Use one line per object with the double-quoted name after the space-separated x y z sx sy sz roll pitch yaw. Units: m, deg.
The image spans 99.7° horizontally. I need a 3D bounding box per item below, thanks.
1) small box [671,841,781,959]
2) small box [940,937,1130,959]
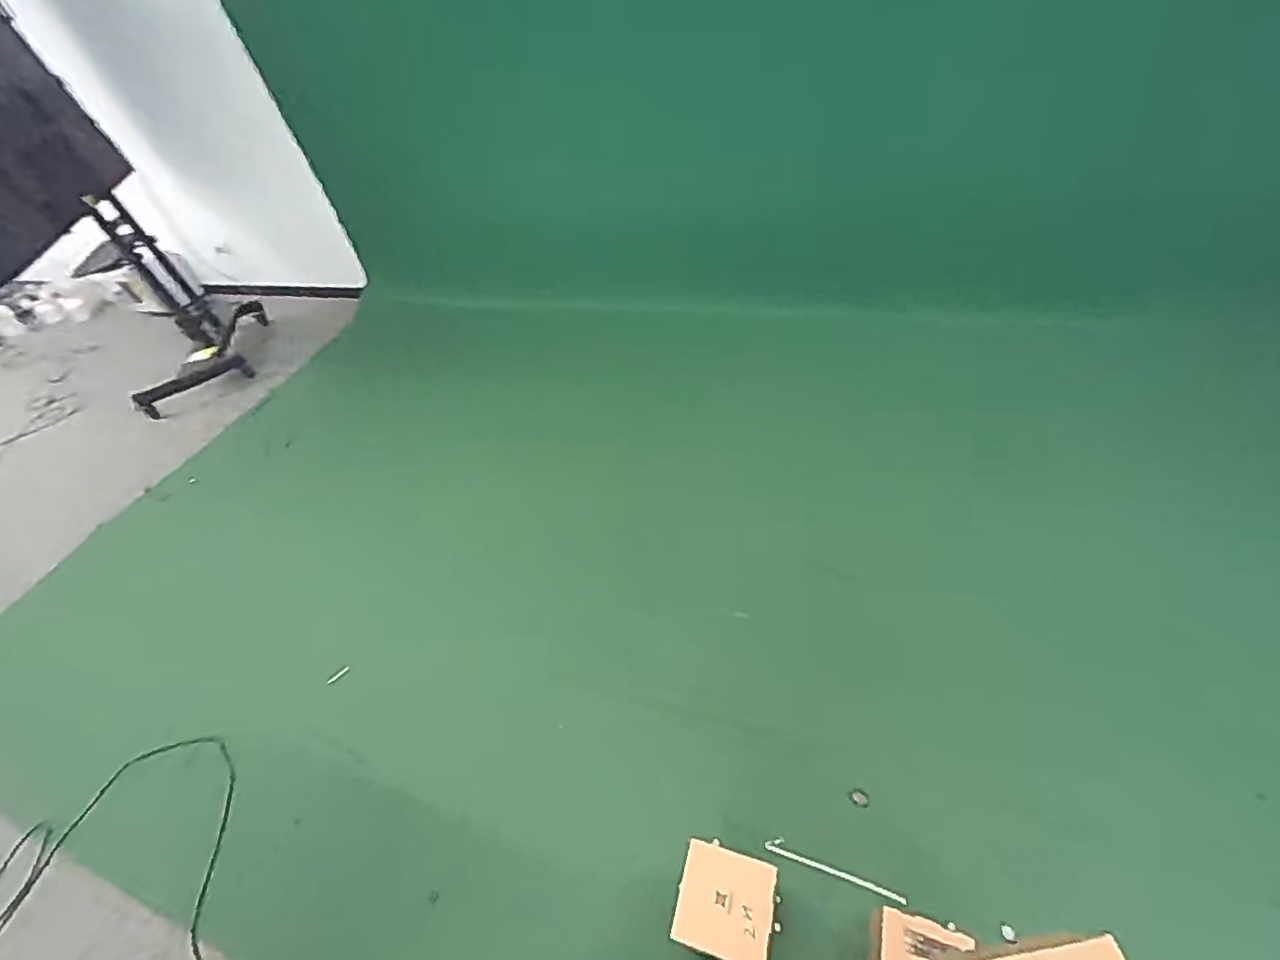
0.176 0.847 1.064 0.179 0.176 0.168 7 49 19 "small box"
0.460 0.624 0.586 0.168 0.176 0.179 -13 49 2 "small box"
